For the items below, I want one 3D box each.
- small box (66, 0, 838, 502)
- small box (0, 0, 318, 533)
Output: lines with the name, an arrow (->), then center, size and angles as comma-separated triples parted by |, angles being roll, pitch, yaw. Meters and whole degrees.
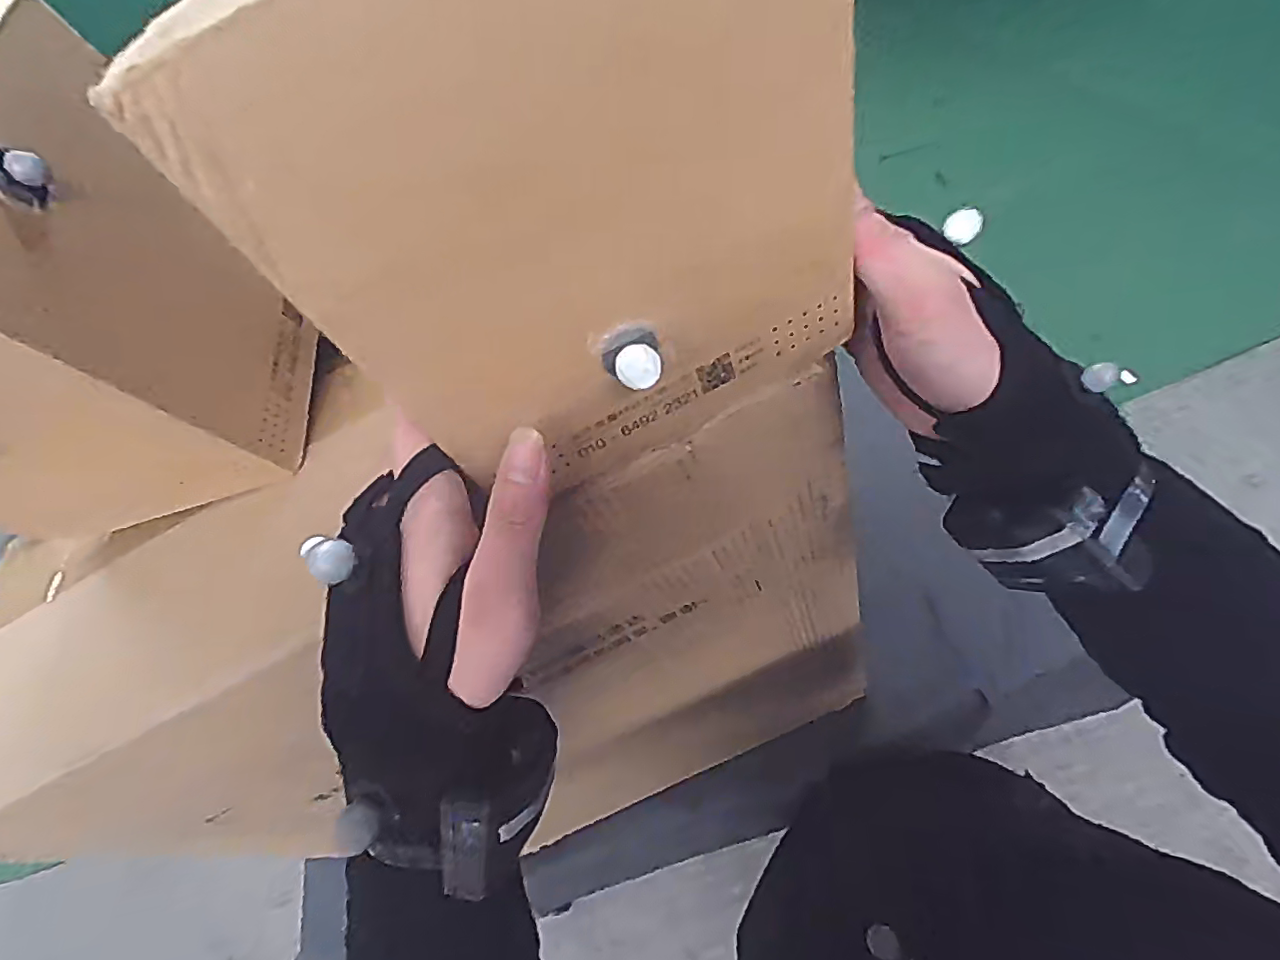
small box -> -0.041, -0.124, 0.216 | 0.168, 0.176, 0.179 | -27, 52, 3
small box -> -0.308, -0.084, 0.282 | 0.179, 0.176, 0.168 | -15, 65, 11
